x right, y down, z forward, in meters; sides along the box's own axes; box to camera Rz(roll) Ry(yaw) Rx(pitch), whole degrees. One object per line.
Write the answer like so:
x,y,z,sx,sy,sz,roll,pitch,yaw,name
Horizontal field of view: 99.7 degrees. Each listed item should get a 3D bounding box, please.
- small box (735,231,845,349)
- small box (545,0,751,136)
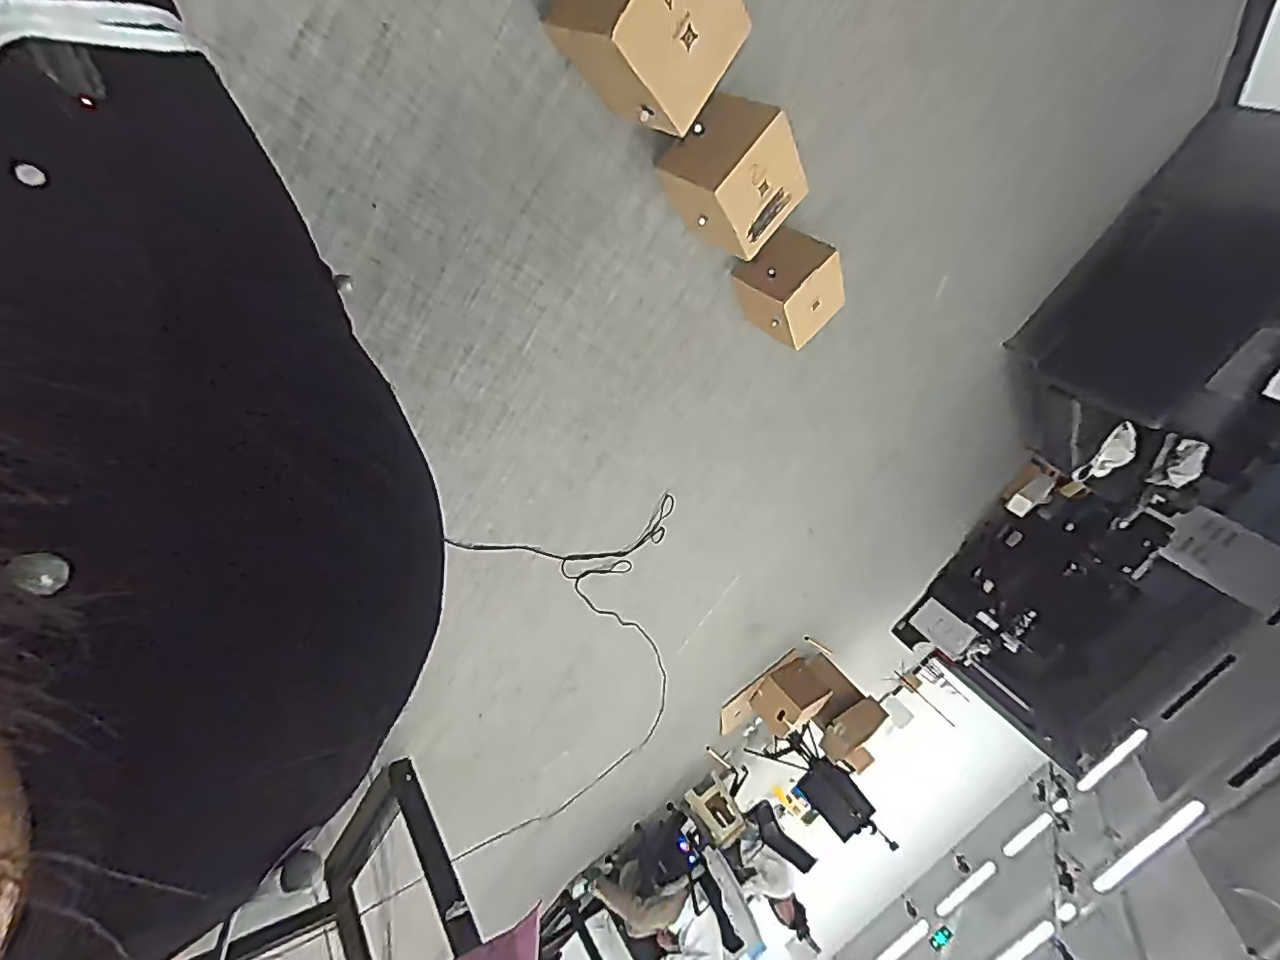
0.343,-0.443,1.246,0.168,0.176,0.179,-44,146,0,small box
0.009,-0.615,0.727,0.179,0.176,0.168,19,111,-52,small box
